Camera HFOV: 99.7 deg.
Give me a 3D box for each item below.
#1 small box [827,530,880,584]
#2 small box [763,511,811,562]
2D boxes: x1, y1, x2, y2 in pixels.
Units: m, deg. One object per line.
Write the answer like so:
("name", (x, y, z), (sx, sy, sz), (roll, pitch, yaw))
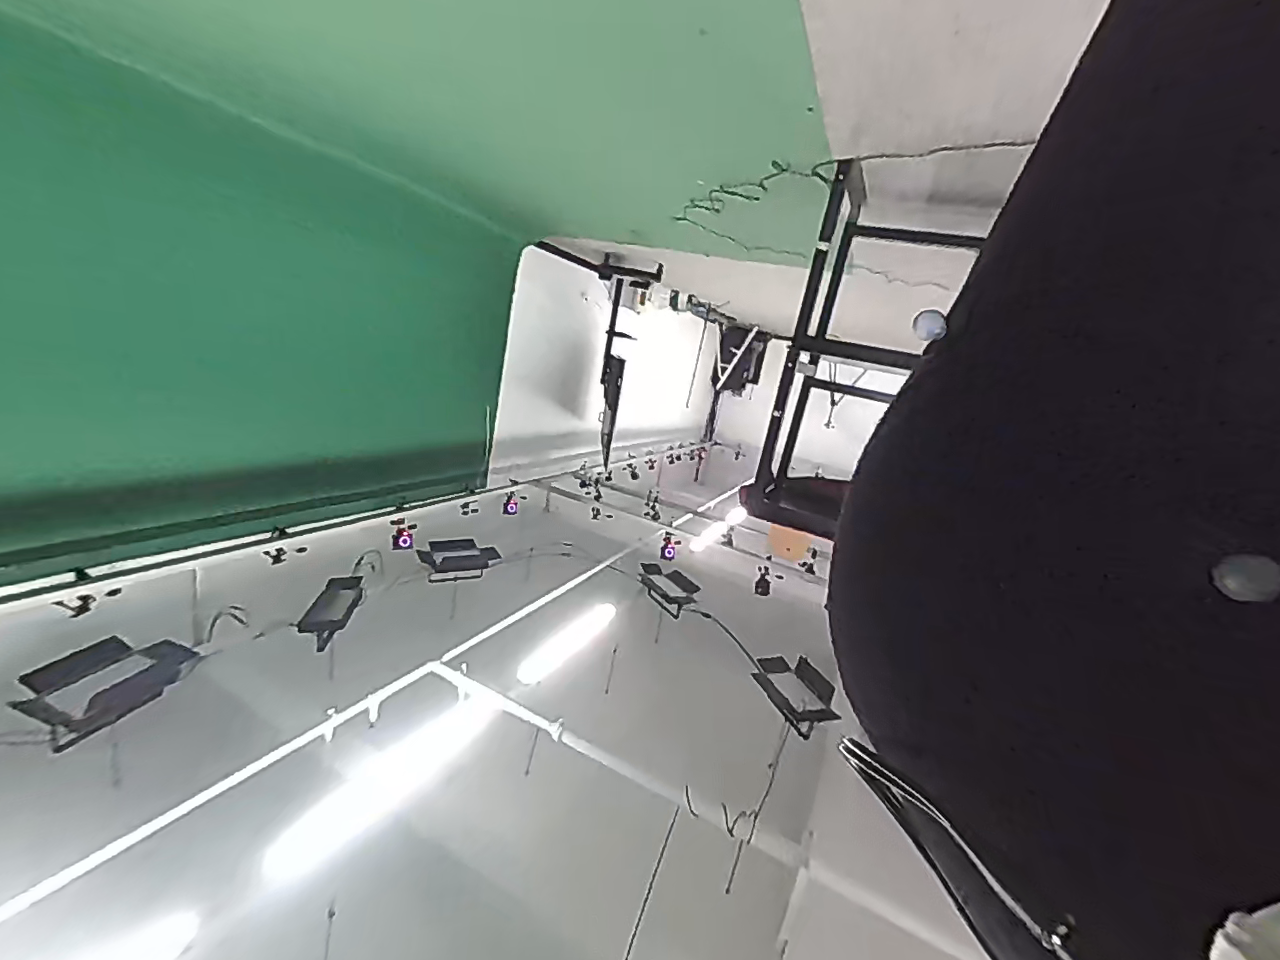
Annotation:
("small box", (0.937, 0.330, 2.375), (0.179, 0.176, 0.168), (16, -165, 21))
("small box", (0.678, 0.254, 2.475), (0.179, 0.176, 0.168), (16, -167, 18))
